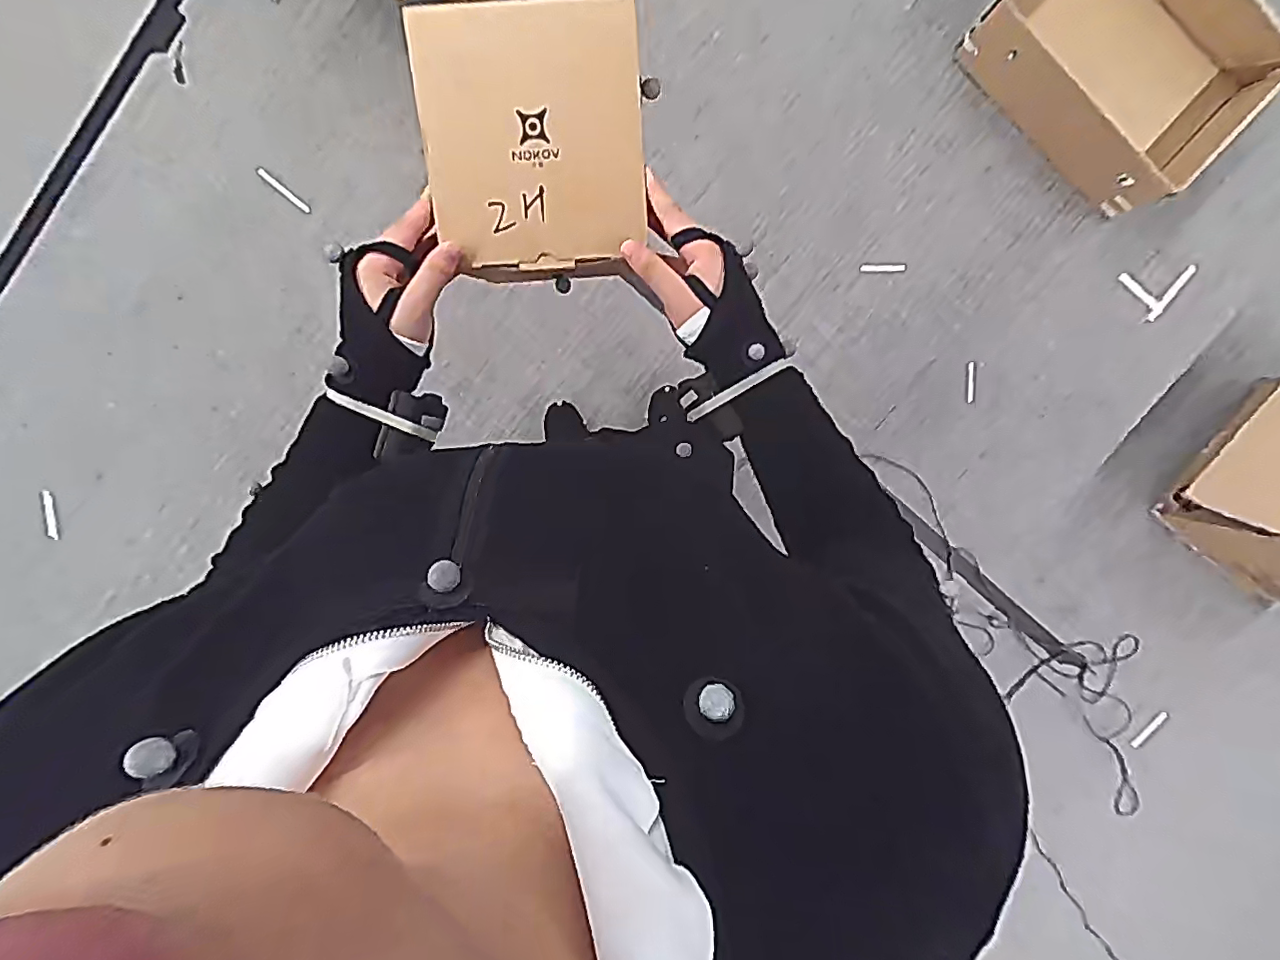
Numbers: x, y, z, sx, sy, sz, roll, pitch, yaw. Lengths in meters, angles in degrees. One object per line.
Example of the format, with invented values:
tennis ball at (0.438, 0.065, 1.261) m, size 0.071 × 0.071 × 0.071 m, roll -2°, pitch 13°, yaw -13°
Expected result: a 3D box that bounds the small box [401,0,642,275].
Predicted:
small box at (-0.087, -0.283, 0.479) m, size 0.168 × 0.176 × 0.179 m, roll -3°, pitch 108°, yaw -1°
